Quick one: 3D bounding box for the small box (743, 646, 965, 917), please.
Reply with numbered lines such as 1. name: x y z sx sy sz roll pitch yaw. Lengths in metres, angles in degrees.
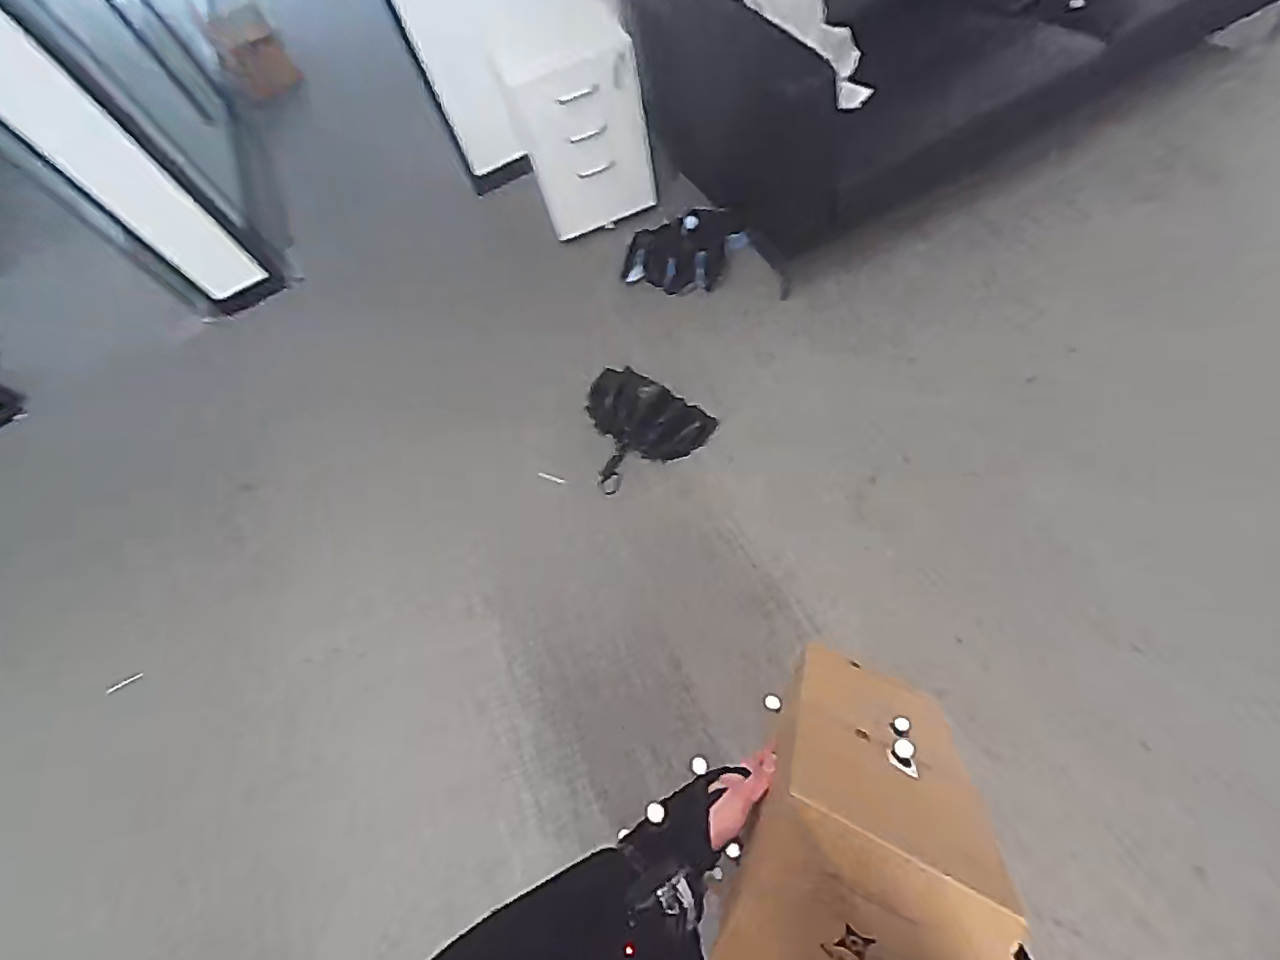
1. small box: 0.238 0.327 0.625 0.168 0.176 0.179 23 101 16
